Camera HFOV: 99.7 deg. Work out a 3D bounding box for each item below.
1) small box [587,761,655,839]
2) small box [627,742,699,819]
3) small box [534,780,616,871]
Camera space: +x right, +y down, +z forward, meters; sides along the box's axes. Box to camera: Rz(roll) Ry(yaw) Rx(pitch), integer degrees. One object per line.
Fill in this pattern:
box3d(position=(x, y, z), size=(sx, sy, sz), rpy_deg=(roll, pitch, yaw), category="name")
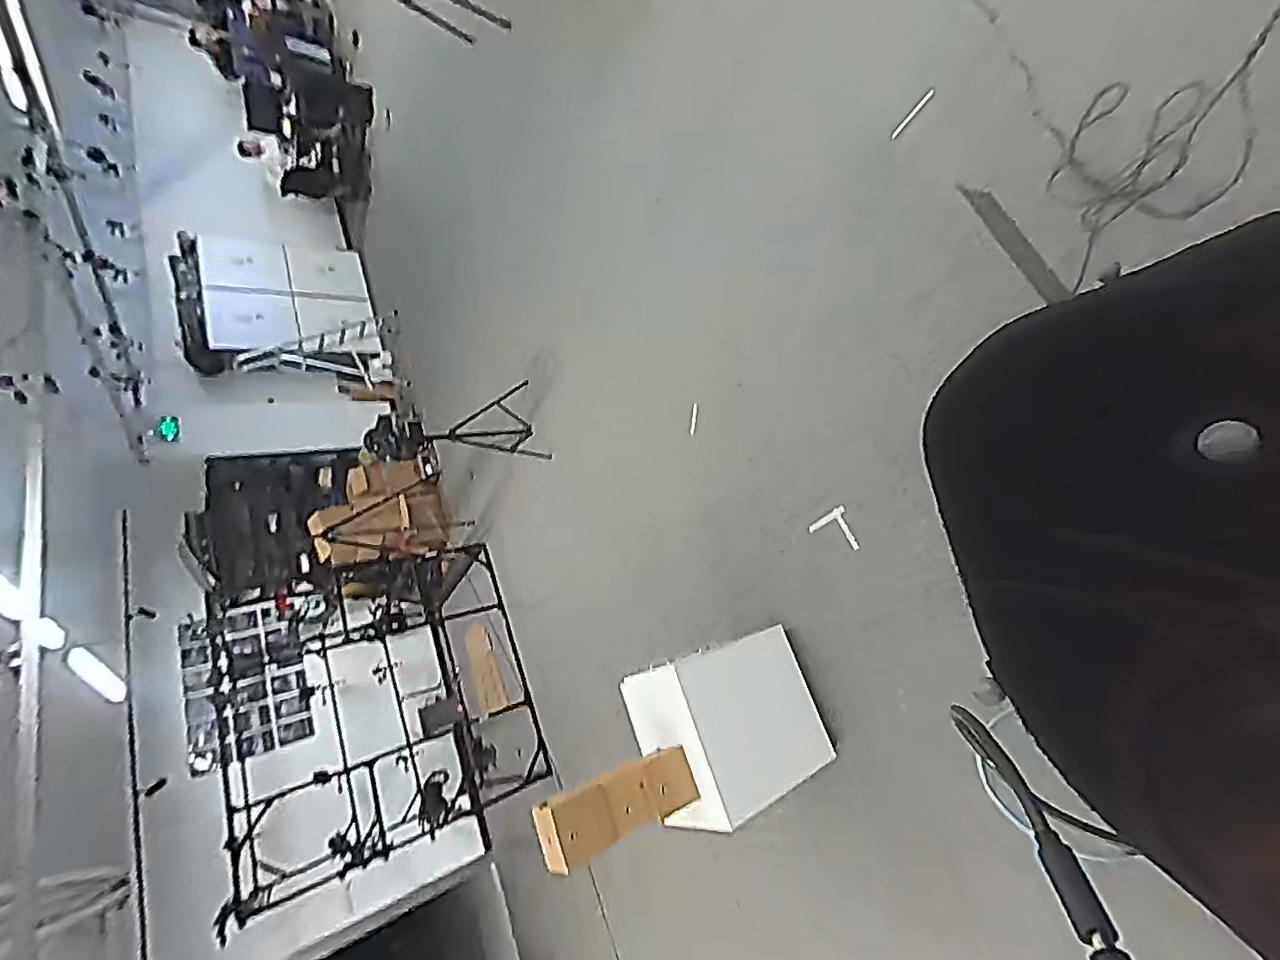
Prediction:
box3d(position=(-0.069, 1.019, 1.732), size=(0.179, 0.176, 0.168), rpy_deg=(-43, 62, 50), category="small box")
box3d(position=(0.072, 1.006, 1.813), size=(0.168, 0.176, 0.179), rpy_deg=(-44, 61, 48), category="small box")
box3d(position=(-0.193, 1.029, 1.623), size=(0.168, 0.176, 0.179), rpy_deg=(-43, 62, 49), category="small box")
